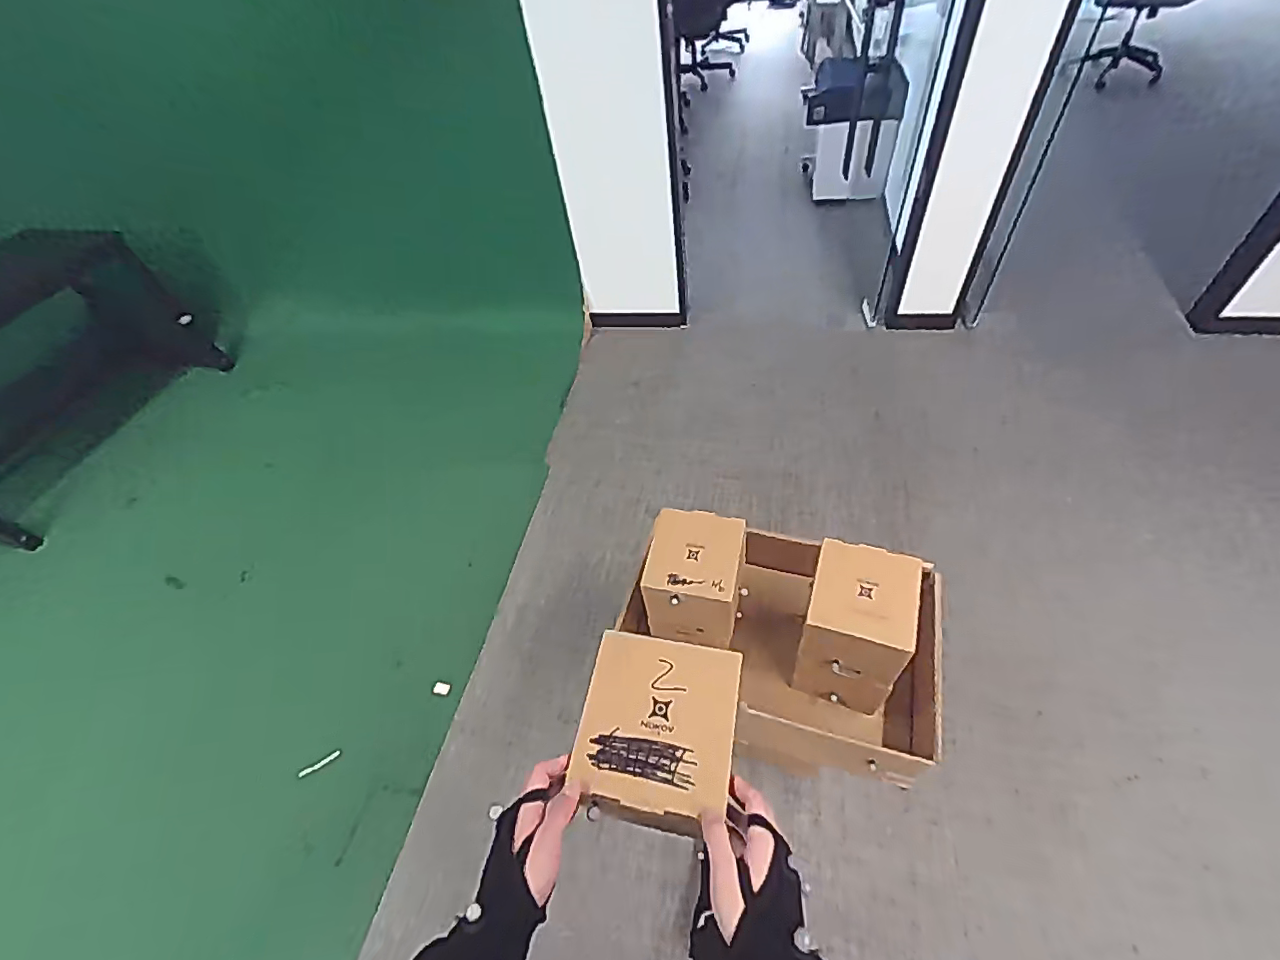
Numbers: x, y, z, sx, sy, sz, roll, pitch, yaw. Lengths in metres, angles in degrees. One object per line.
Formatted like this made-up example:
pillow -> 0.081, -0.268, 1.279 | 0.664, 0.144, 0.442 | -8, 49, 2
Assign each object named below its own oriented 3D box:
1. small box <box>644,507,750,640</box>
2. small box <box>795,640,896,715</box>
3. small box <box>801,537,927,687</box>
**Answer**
small box -> 0.114, 0.180, 1.037 | 0.168, 0.176, 0.179 | 7, 52, 15
small box -> 0.412, 0.336, 1.077 | 0.168, 0.176, 0.179 | 14, 55, 19
small box -> 0.388, 0.233, 0.953 | 0.168, 0.176, 0.179 | 13, 54, 19
